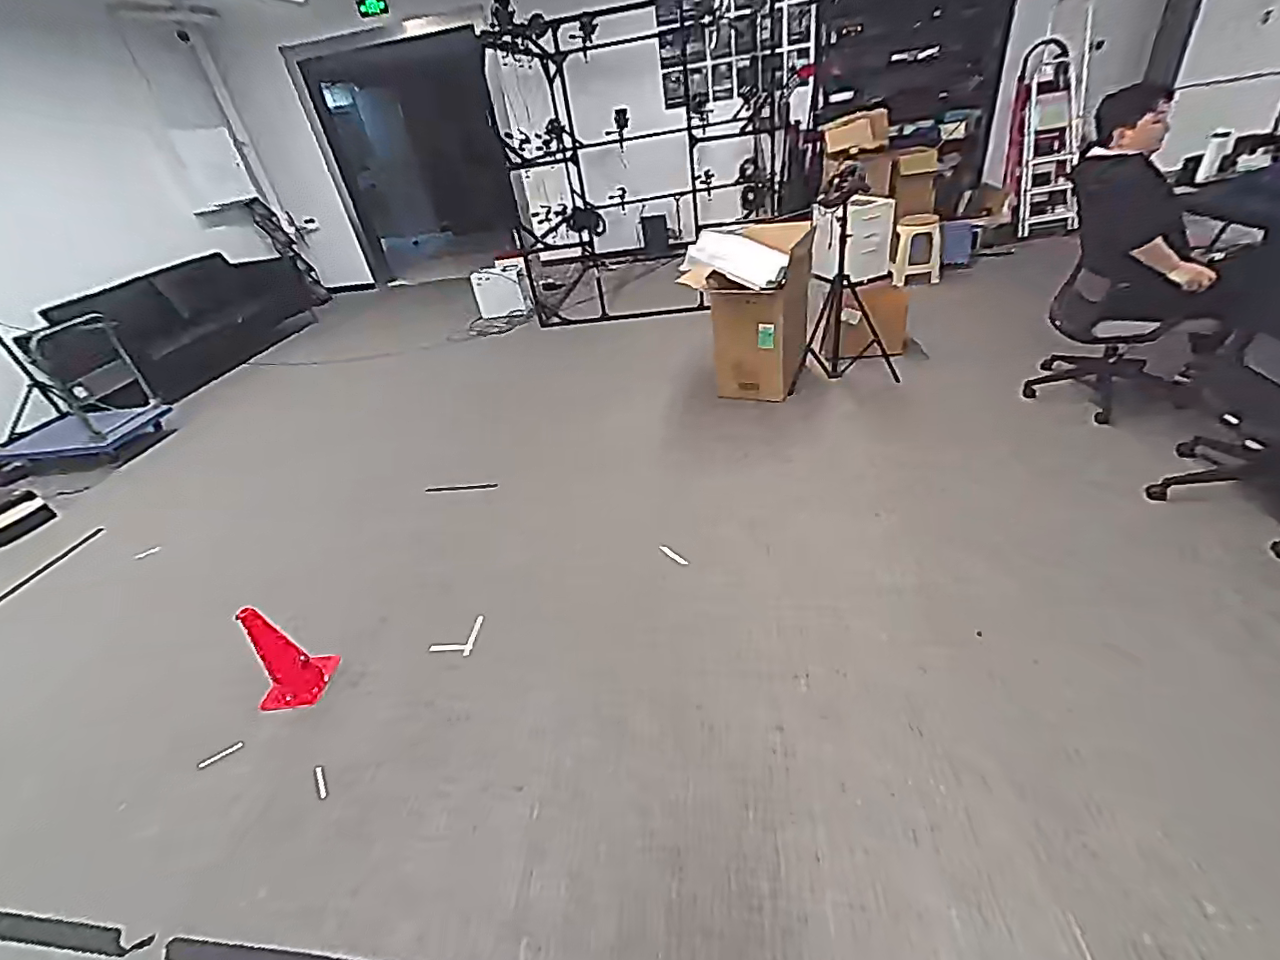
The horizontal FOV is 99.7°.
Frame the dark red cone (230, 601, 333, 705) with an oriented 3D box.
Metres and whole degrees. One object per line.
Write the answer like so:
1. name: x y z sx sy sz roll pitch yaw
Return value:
1. dark red cone: -1.179 0.530 1.722 0.202 0.394 0.201 -8 35 4
